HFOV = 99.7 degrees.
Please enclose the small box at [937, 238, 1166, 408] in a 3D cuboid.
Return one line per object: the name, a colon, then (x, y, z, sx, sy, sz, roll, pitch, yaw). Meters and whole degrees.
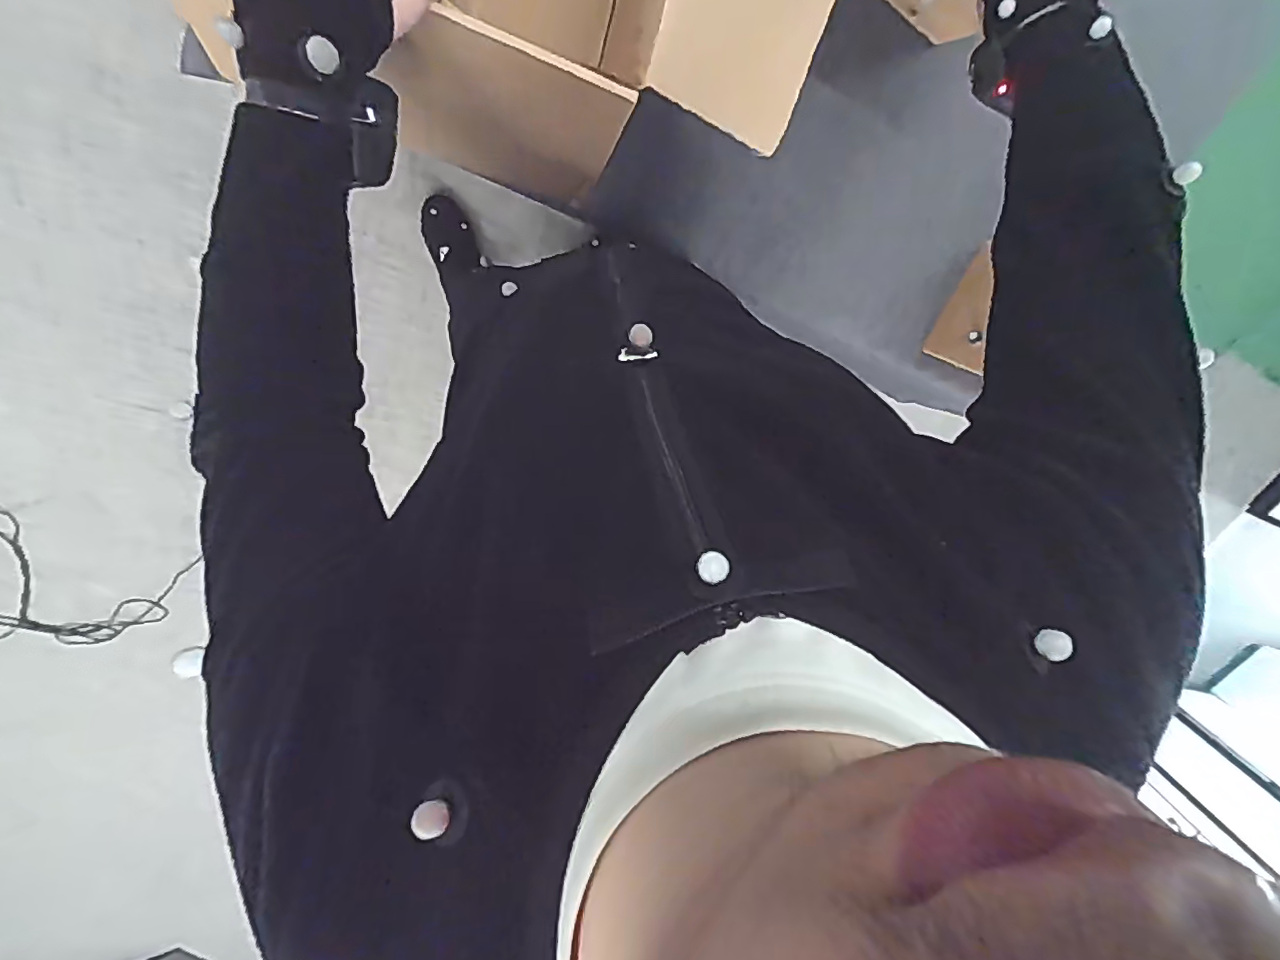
small box: (0.578, -0.233, 0.791, 0.168, 0.176, 0.179, 14, 114, -20)
